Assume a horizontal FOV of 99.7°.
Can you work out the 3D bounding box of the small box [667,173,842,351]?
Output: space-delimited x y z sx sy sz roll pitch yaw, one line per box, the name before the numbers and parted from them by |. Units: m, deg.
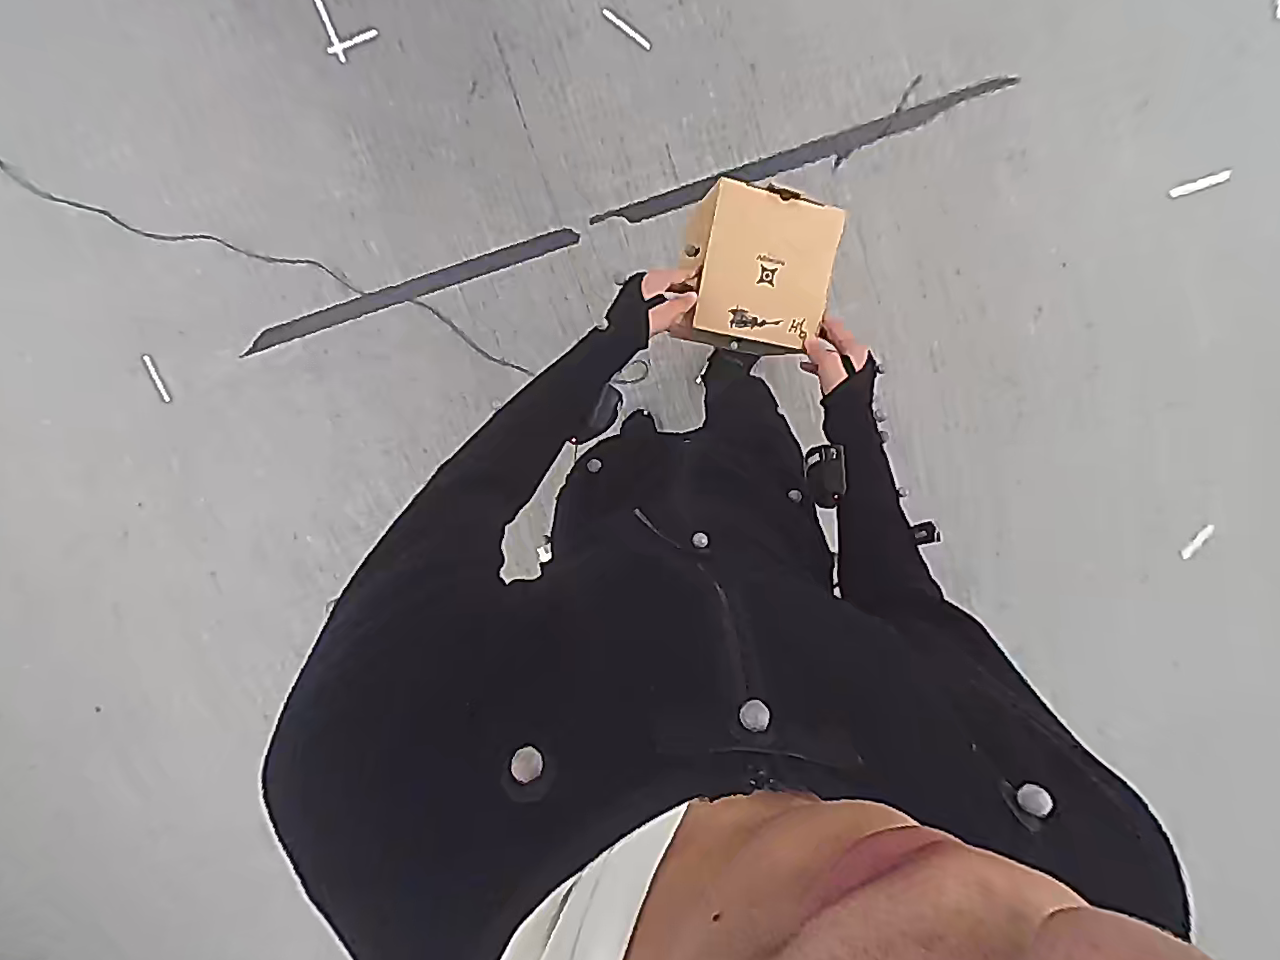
small box | 0.142 -0.278 0.733 0.168 0.176 0.179 8 100 -10
